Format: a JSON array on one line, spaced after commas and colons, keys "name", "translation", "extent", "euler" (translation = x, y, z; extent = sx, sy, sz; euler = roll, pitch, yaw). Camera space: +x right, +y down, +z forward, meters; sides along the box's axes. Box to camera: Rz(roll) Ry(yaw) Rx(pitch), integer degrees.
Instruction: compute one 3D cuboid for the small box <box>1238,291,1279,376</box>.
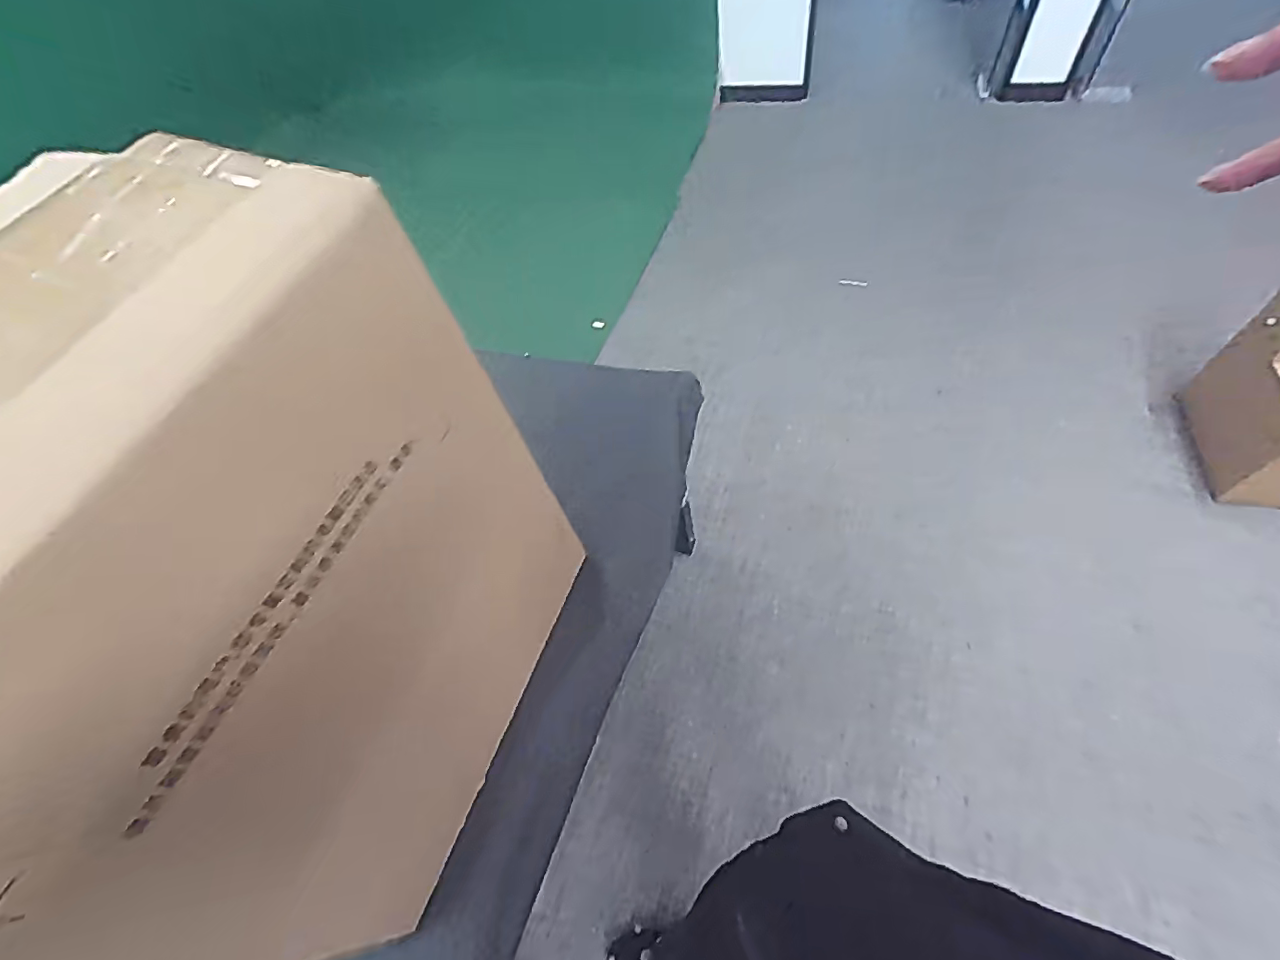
[{"name": "small box", "translation": [1.671, -0.369, 1.343], "extent": [0.179, 0.176, 0.168], "euler": [8, 58, 18]}]
